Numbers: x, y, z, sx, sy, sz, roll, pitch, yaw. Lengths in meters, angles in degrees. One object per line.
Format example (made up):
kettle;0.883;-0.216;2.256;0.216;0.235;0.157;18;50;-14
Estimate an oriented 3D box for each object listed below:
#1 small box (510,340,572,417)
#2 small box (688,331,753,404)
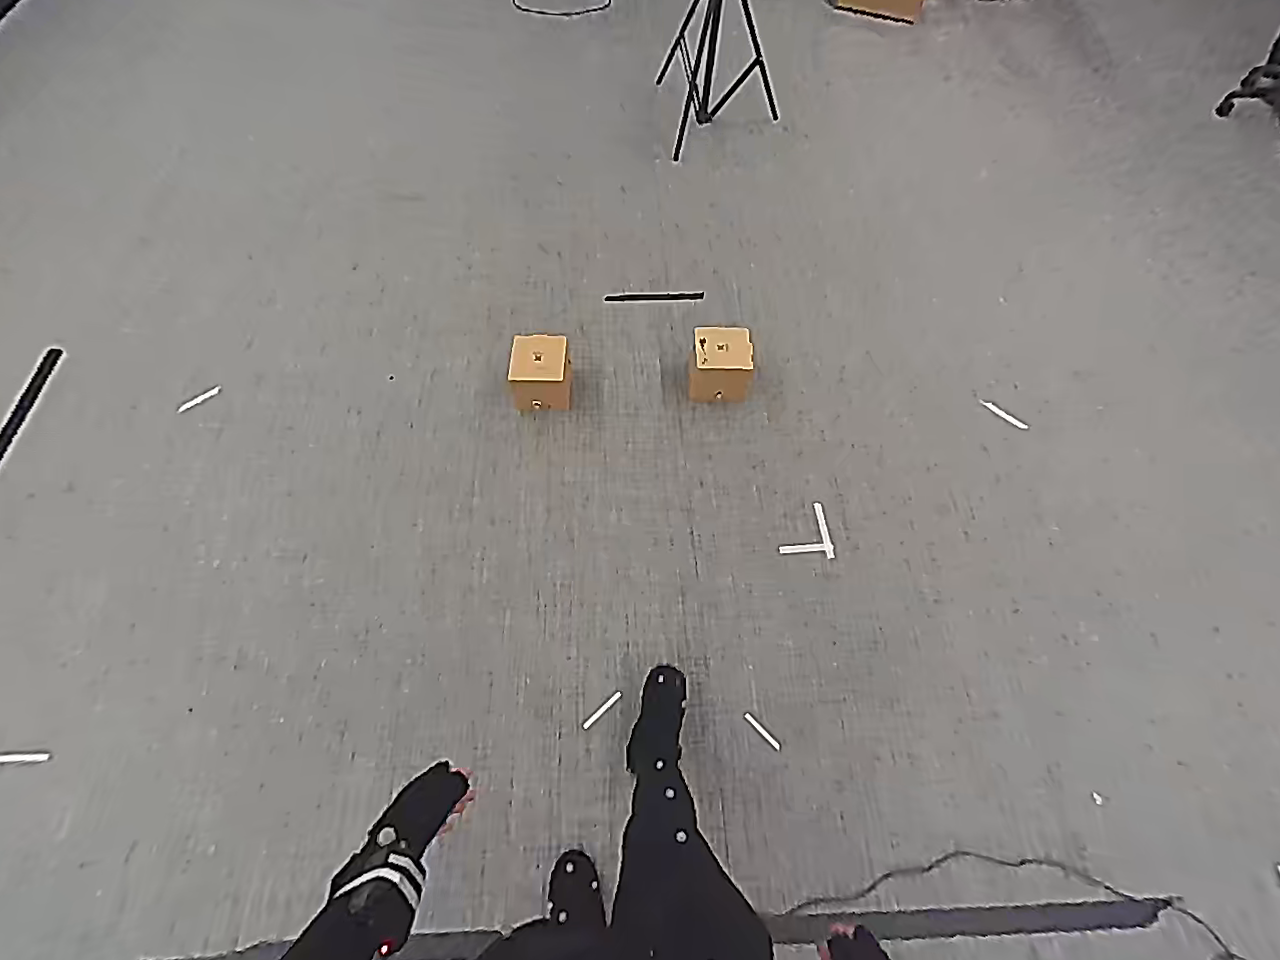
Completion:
small box;-0.306;-0.320;1.708;0.168;0.176;0.179;0;64;0
small box;0.255;-0.357;1.744;0.179;0.176;0.168;1;63;-2
